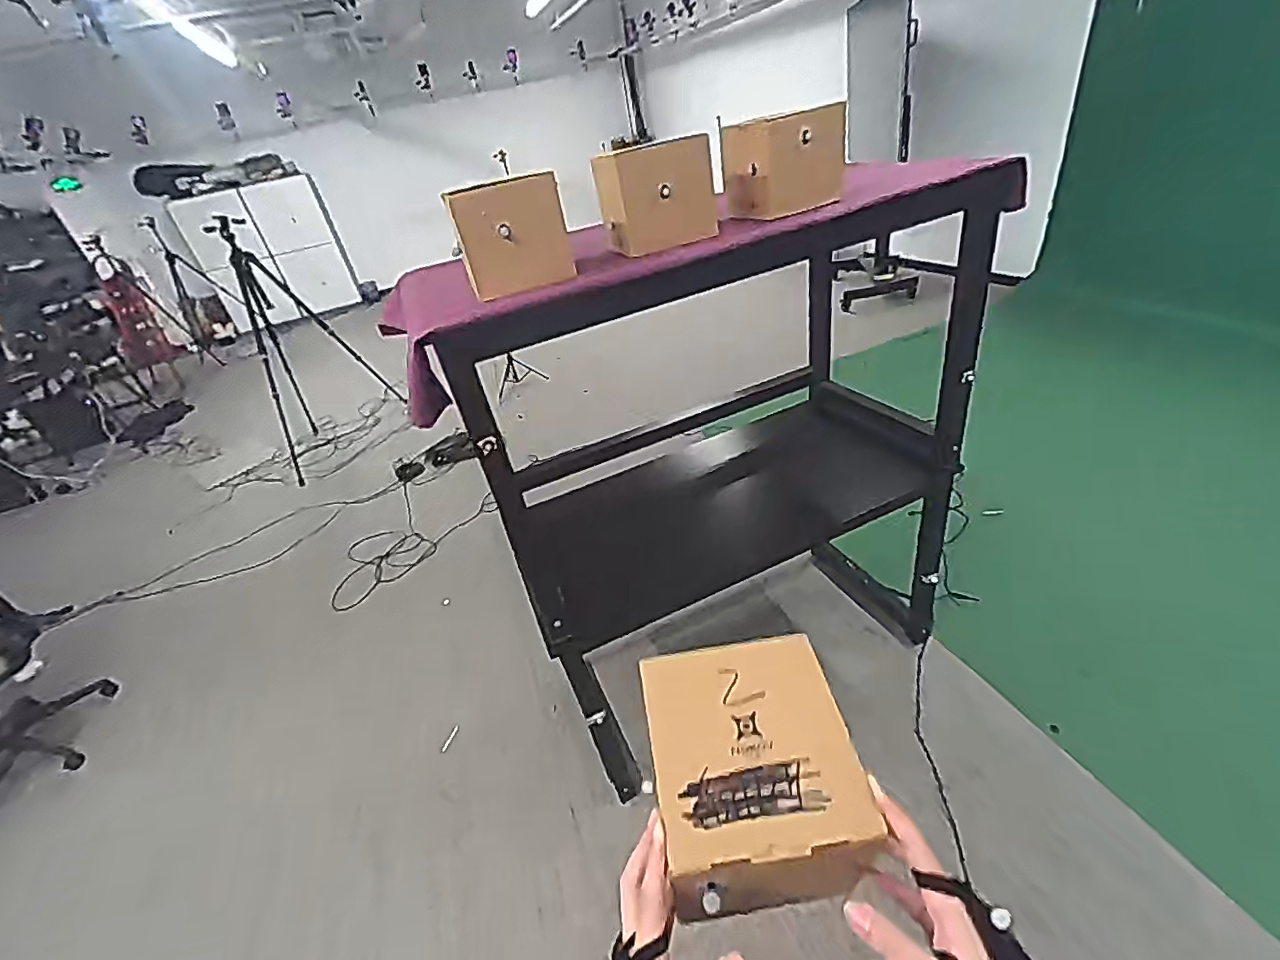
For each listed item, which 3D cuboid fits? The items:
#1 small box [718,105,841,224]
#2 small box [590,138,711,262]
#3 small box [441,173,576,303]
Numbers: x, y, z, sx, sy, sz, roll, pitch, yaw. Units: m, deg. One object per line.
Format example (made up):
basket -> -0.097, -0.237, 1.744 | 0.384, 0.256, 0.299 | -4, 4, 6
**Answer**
small box -> 0.278, -0.617, 1.072 | 0.179, 0.176, 0.168 | -21, 33, -13
small box -> 0.024, -0.525, 1.015 | 0.179, 0.176, 0.168 | -20, 32, -10
small box -> -0.229, -0.424, 0.946 | 0.179, 0.176, 0.168 | -20, 34, -11
